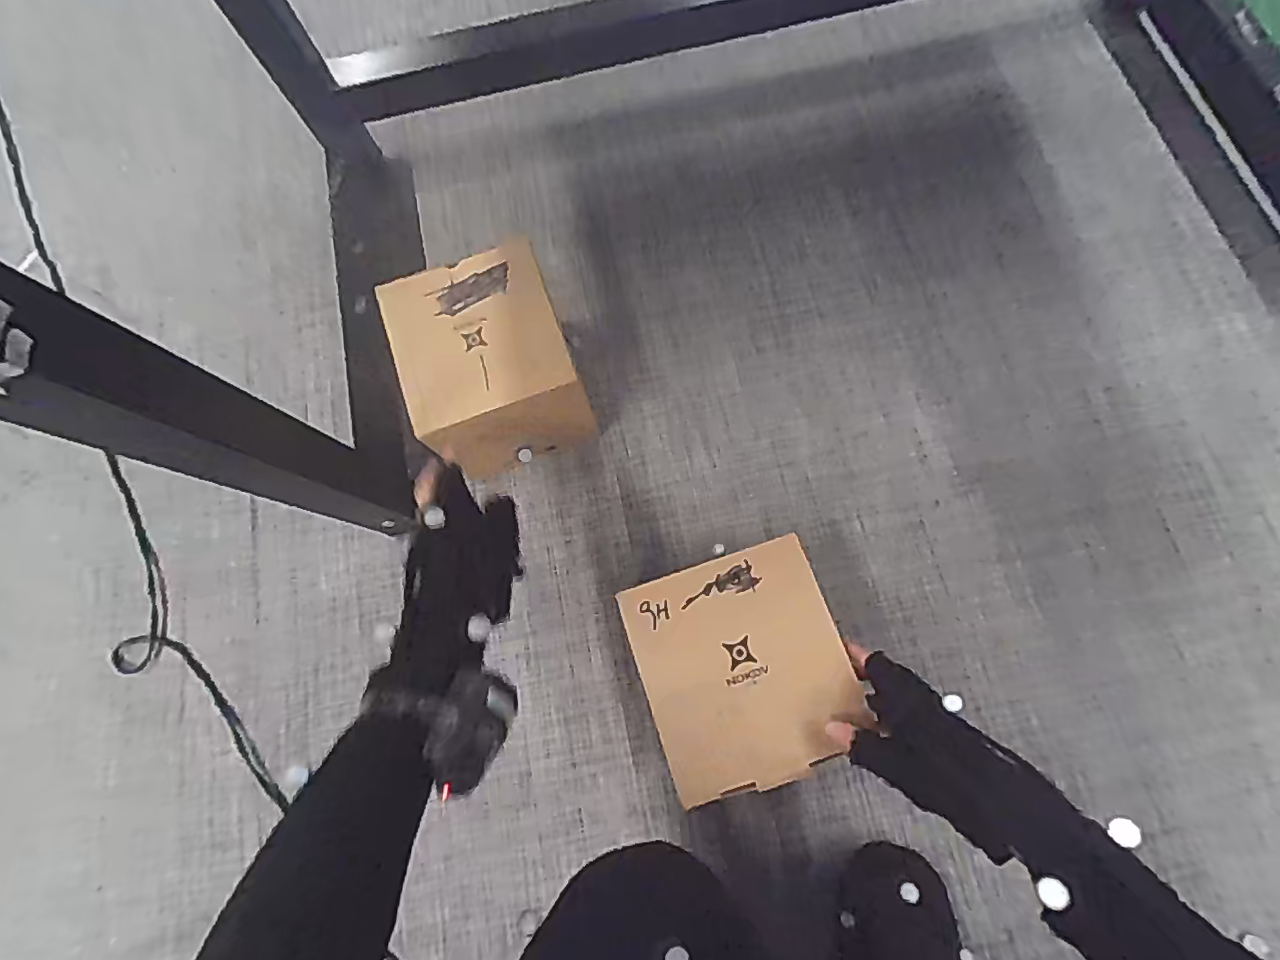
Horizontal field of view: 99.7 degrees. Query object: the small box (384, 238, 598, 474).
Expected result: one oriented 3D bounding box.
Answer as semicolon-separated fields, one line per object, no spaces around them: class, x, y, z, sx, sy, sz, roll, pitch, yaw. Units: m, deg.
small box;-0.156;-0.128;0.612;0.168;0.176;0.179;-19;76;-2
